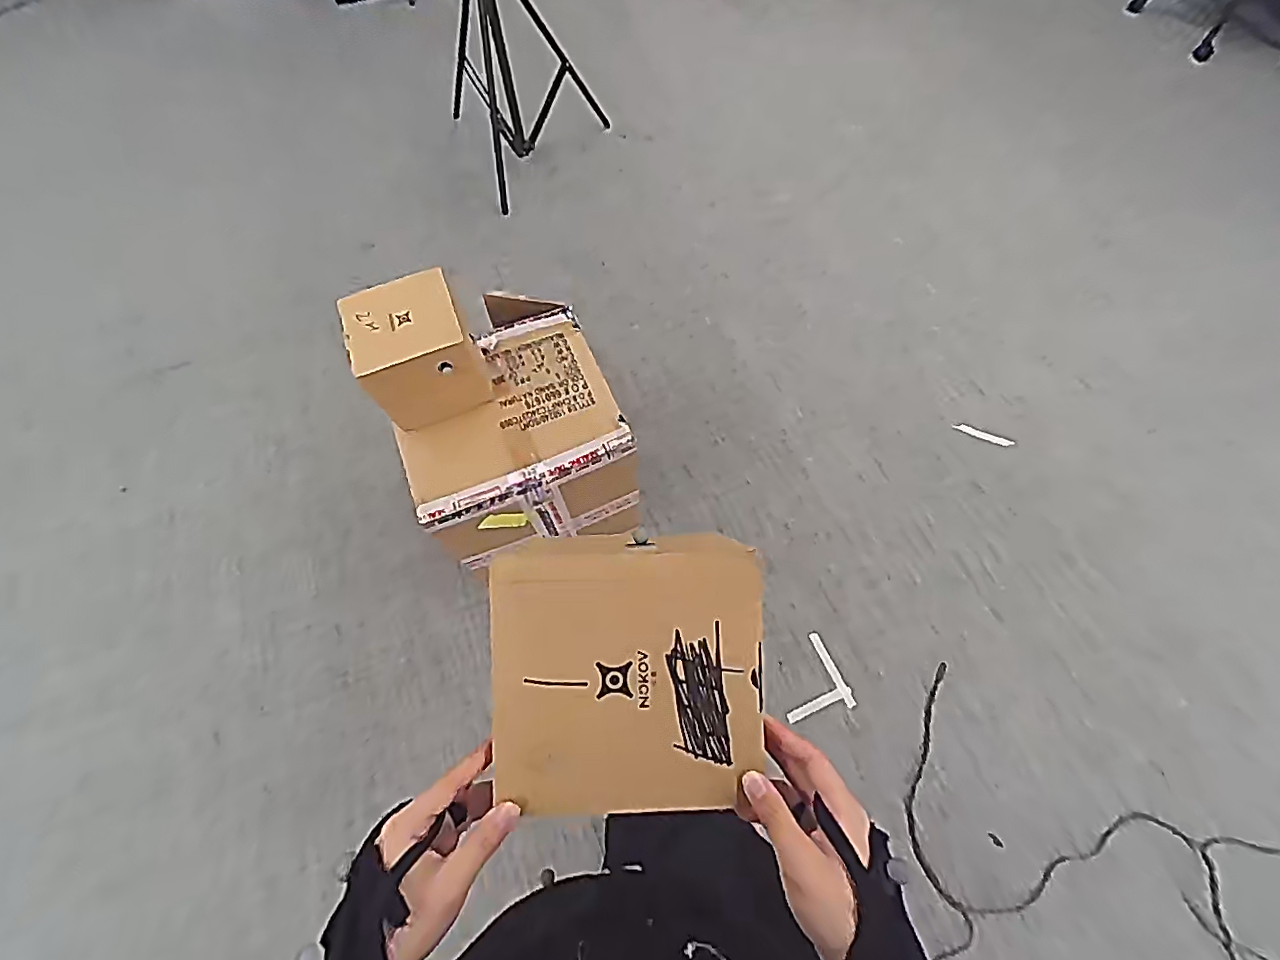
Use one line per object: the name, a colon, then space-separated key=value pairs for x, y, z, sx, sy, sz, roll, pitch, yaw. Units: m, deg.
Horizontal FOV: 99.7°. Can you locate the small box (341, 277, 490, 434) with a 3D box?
small box: x=-0.372 y=-0.206 z=0.926 sx=0.179 sy=0.176 sz=0.168 roll=-21 pitch=67 yaw=-6

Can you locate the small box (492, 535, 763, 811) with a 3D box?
small box: x=-0.010 y=0.133 z=0.433 sx=0.179 sy=0.176 sz=0.168 roll=-2 pitch=87 yaw=-1
